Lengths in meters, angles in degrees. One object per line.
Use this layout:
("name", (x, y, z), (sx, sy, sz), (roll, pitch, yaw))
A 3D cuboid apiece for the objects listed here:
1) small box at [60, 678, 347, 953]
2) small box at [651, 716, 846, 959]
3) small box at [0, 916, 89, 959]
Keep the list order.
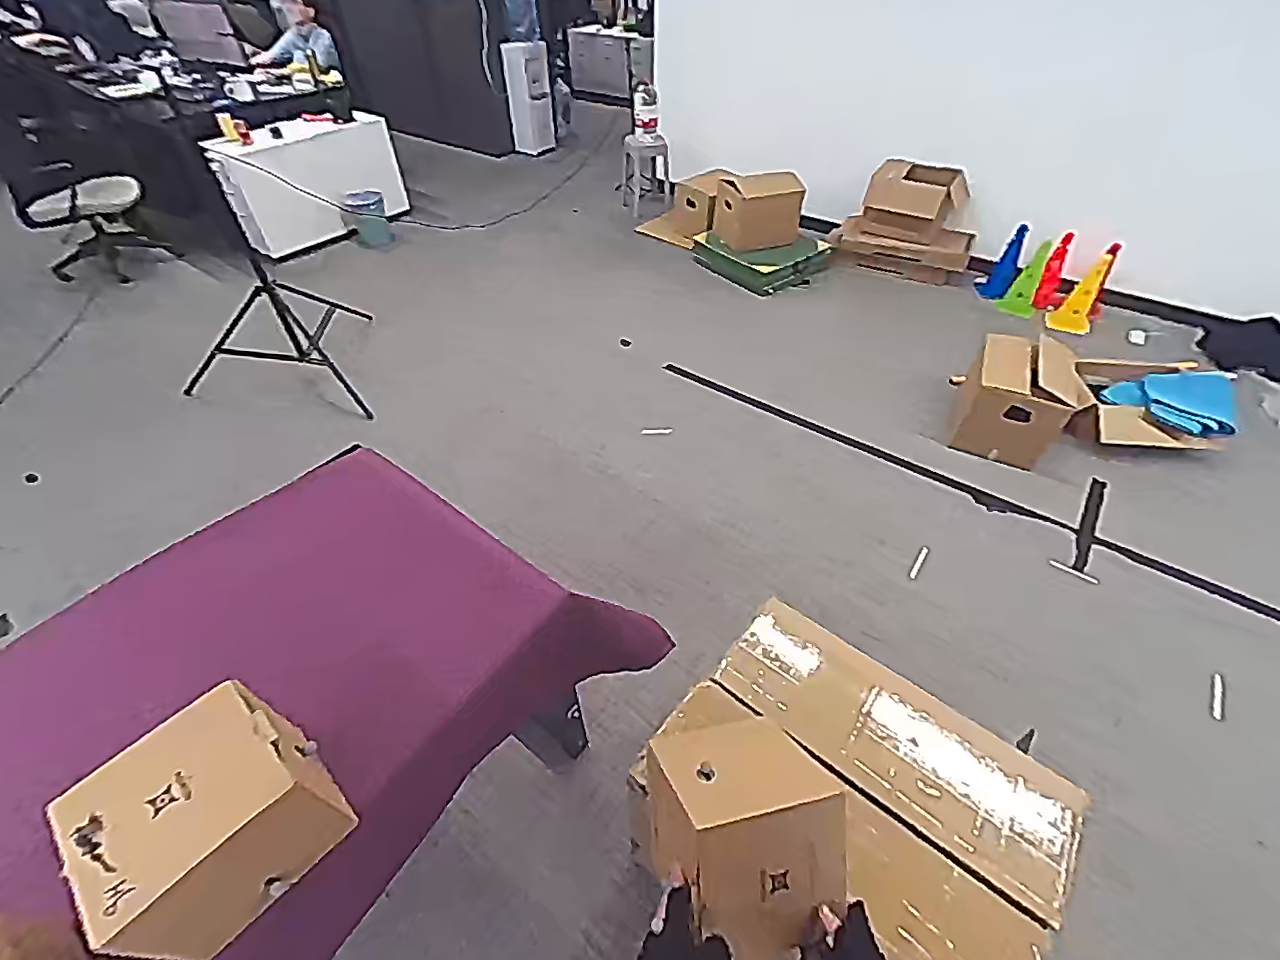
("small box", (-0.455, 0.365, 0.595), (0.168, 0.176, 0.179), (32, 53, 29))
("small box", (0.116, 0.407, 0.638), (0.179, 0.168, 0.176), (-5, 6, -16))
("small box", (-0.605, 0.508, 0.454), (0.168, 0.176, 0.179), (27, 53, 25))
